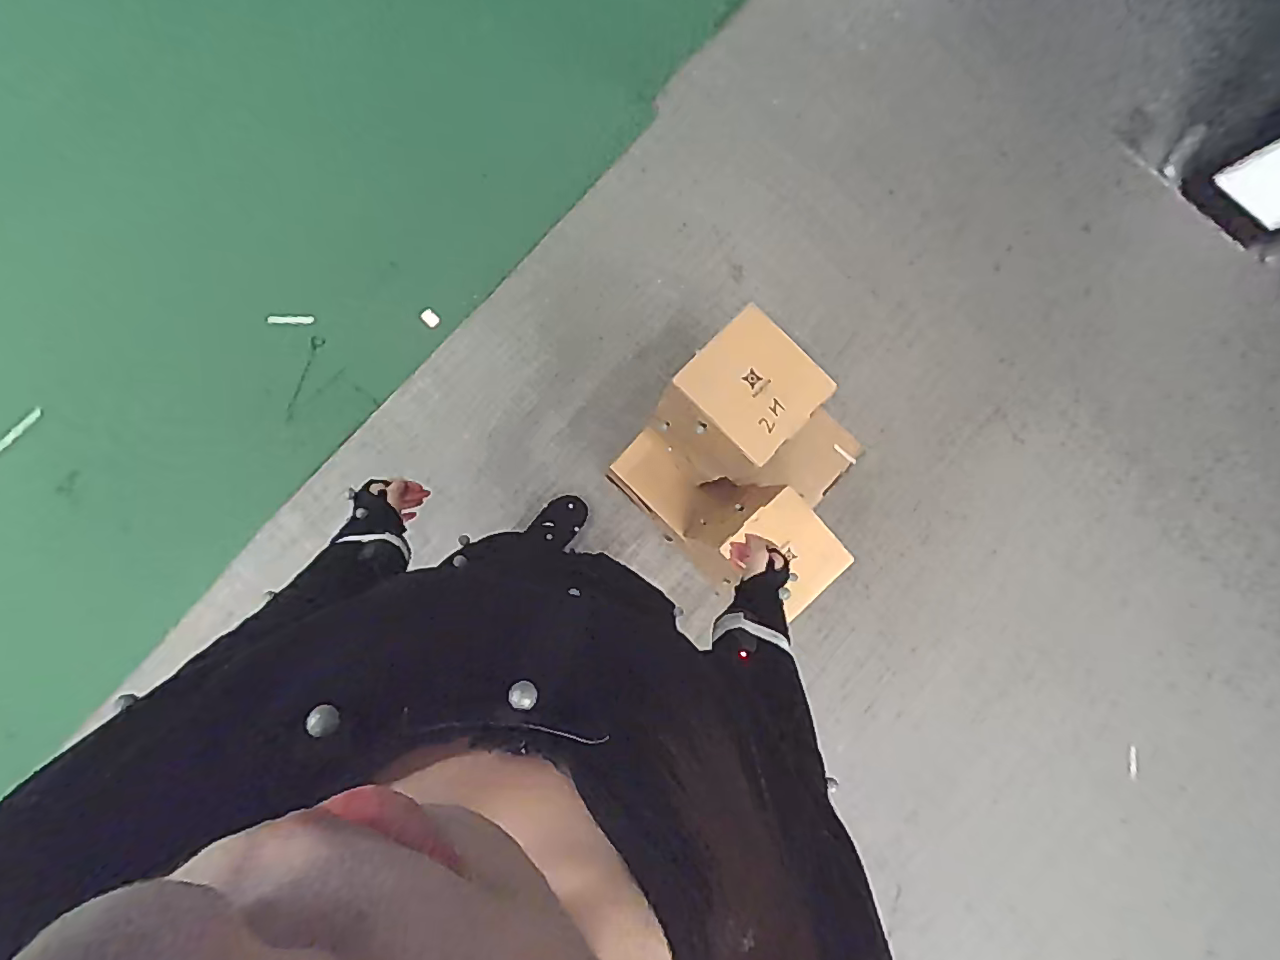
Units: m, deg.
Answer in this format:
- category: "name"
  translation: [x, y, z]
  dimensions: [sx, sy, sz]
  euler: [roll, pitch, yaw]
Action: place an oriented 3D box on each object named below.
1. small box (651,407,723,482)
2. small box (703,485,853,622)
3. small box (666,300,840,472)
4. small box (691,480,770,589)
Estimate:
- category: "small box"
  translation: [0.141, -0.114, 1.153]
  dimensions: [0.179, 0.176, 0.168]
  euler: [-42, 89, -7]
- category: "small box"
  translation: [0.240, 0.124, 0.982]
  dimensions: [0.168, 0.176, 0.179]
  euler: [-41, 91, -6]
- category: "small box"
  translation: [0.157, -0.129, 0.823]
  dimensions: [0.168, 0.176, 0.179]
  euler: [-44, 89, -6]
- category: "small box"
  translation: [0.224, 0.120, 1.144]
  dimensions: [0.179, 0.176, 0.168]
  euler: [-42, 92, -7]
